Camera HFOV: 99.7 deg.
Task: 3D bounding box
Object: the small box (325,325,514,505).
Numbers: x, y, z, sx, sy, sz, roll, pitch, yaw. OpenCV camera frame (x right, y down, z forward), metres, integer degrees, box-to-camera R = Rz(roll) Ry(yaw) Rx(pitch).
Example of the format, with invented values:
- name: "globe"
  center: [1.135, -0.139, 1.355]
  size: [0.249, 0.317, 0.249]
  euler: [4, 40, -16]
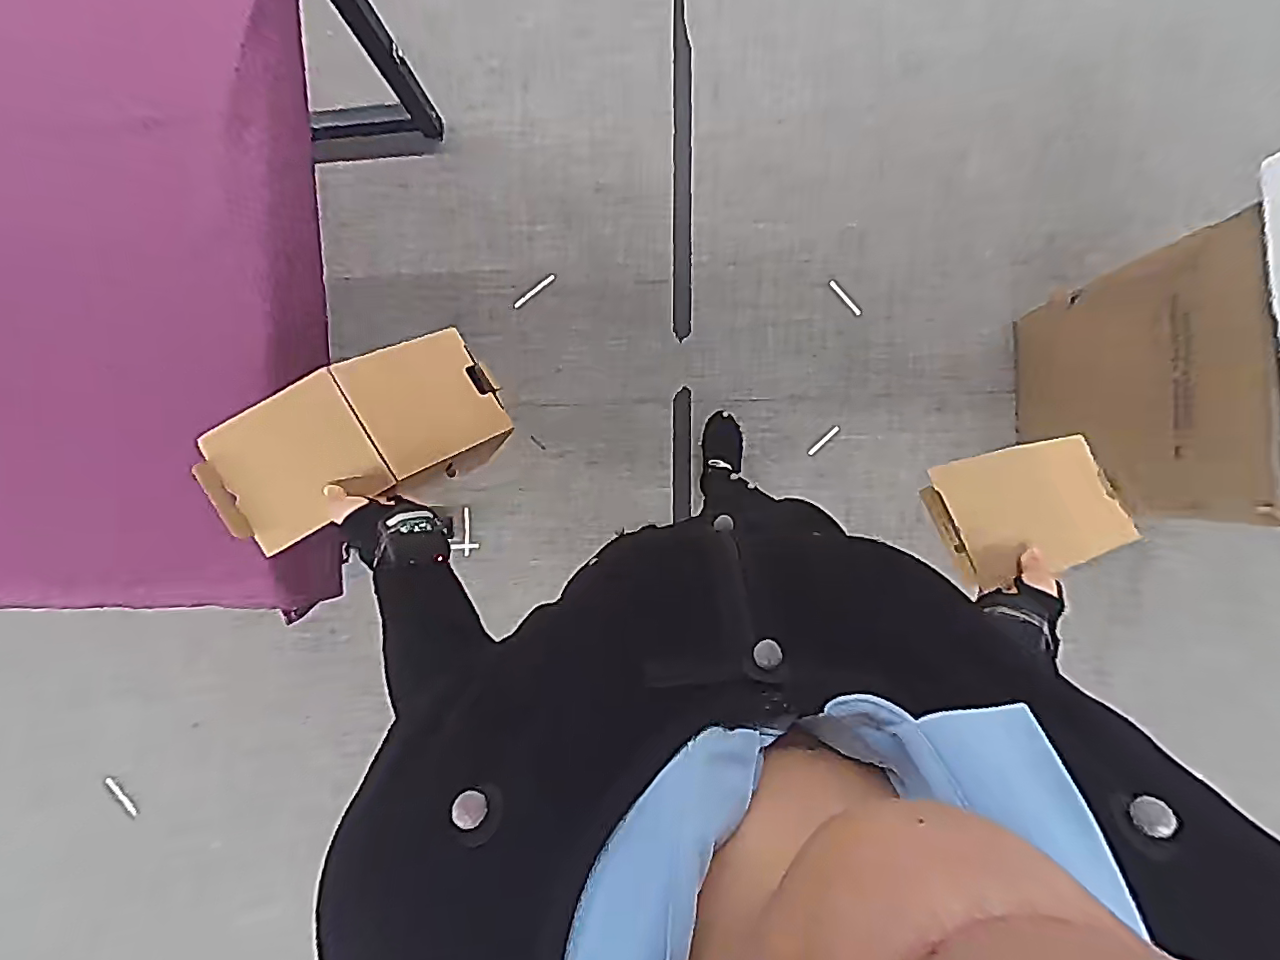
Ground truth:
- name: "small box"
  center: [-0.310, -0.084, 0.755]
  size: [0.179, 0.176, 0.168]
  euler: [-32, 91, -34]
